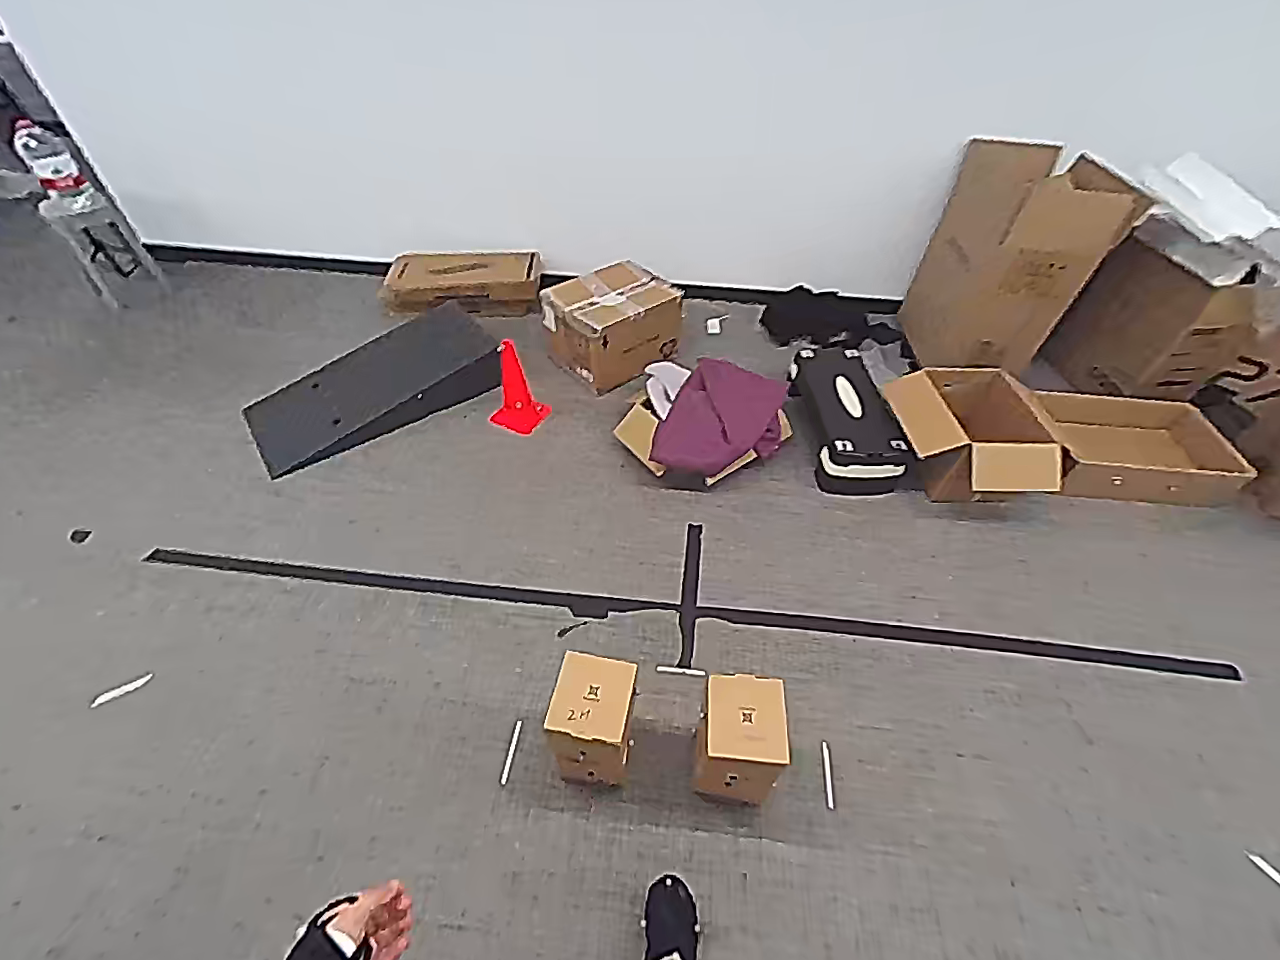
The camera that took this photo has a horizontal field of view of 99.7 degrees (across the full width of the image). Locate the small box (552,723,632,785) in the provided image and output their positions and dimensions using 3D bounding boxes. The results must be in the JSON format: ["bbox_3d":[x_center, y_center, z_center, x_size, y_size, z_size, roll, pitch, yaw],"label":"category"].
[{"bbox_3d":[-0.109,0.632,1.330,0.168,0.176,0.179,5,48,3],"label":"small box"}]

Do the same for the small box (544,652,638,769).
[{"bbox_3d":[-0.104,0.517,1.210,0.168,0.176,0.179,9,48,7],"label":"small box"}]

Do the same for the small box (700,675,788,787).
[{"bbox_3d":[0.222,0.554,1.193,0.168,0.176,0.179,4,49,3],"label":"small box"}]

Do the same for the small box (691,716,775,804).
[{"bbox_3d":[0.223,0.665,1.311,0.179,0.176,0.168,9,48,5],"label":"small box"}]
